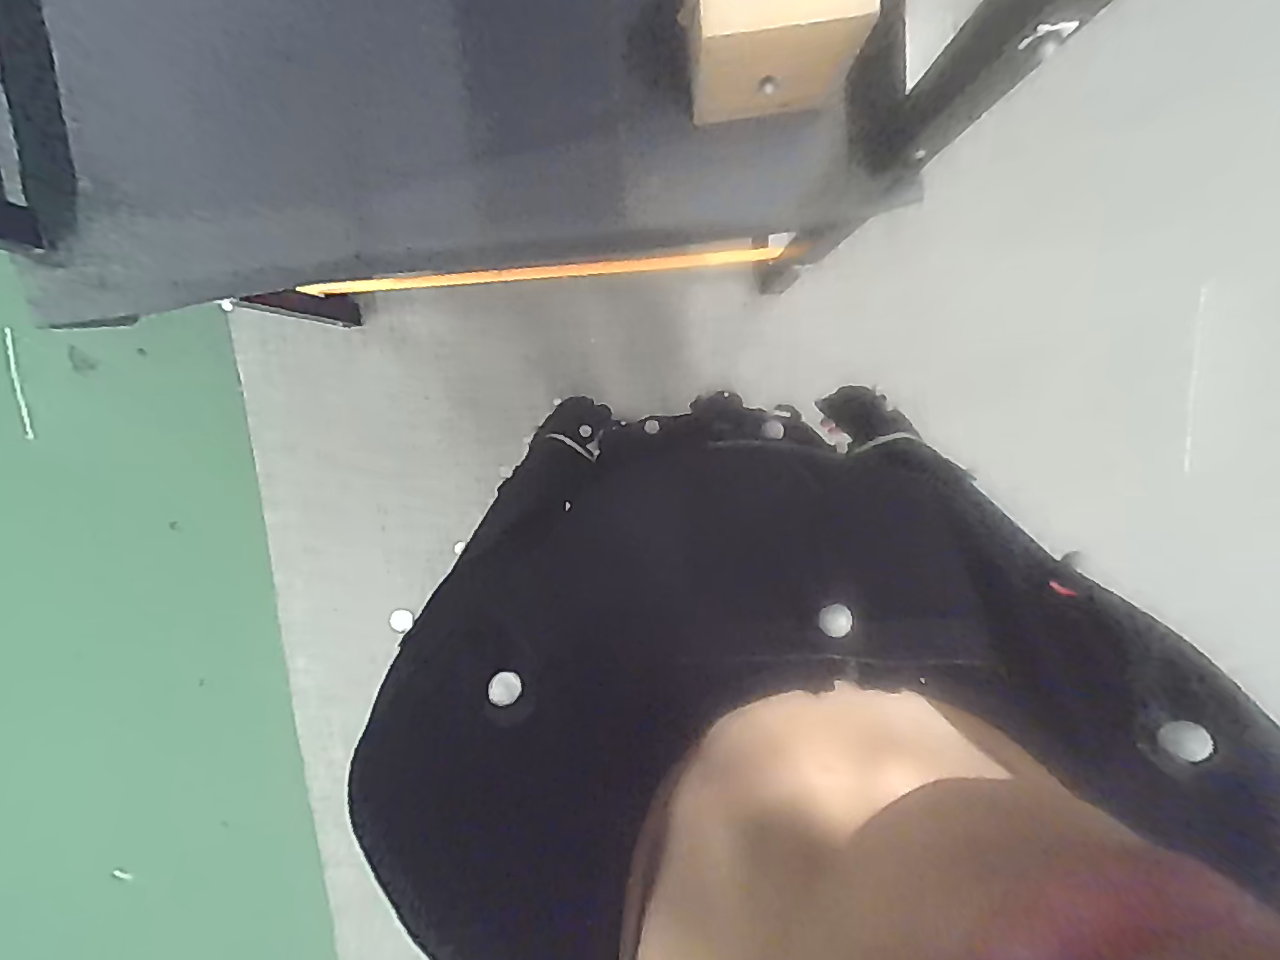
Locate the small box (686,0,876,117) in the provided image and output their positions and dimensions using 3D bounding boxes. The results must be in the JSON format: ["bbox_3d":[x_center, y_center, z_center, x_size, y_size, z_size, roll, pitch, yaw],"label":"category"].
[{"bbox_3d":[0.137,-0.516,0.573,0.168,0.176,0.179,-5,98,3],"label":"small box"}]
